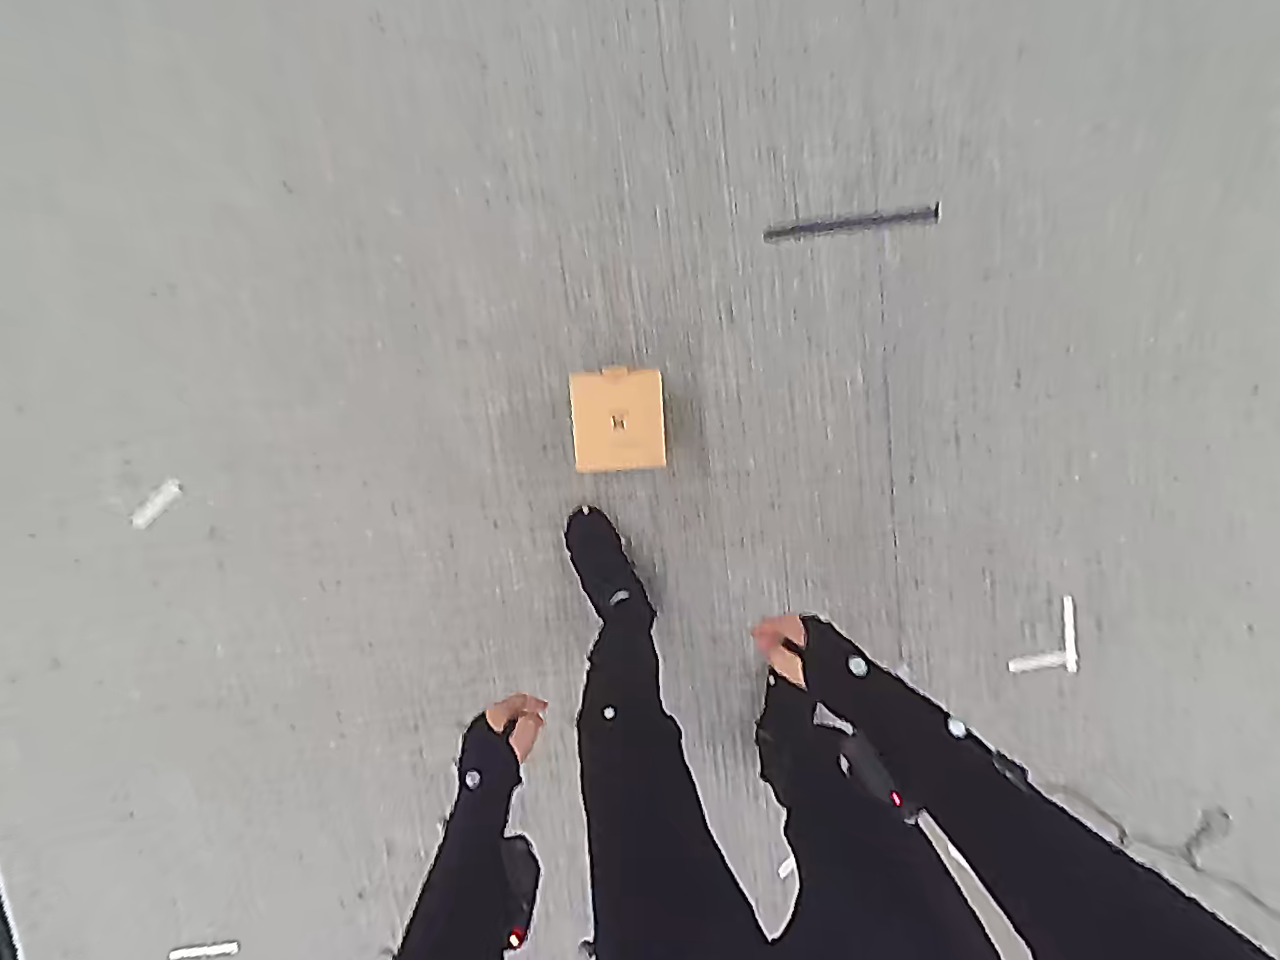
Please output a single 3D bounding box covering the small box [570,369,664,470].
[{"bbox_3d":[-0.043,-0.114,1.052,0.168,0.176,0.179,-3,95,0],"label":"small box"}]
